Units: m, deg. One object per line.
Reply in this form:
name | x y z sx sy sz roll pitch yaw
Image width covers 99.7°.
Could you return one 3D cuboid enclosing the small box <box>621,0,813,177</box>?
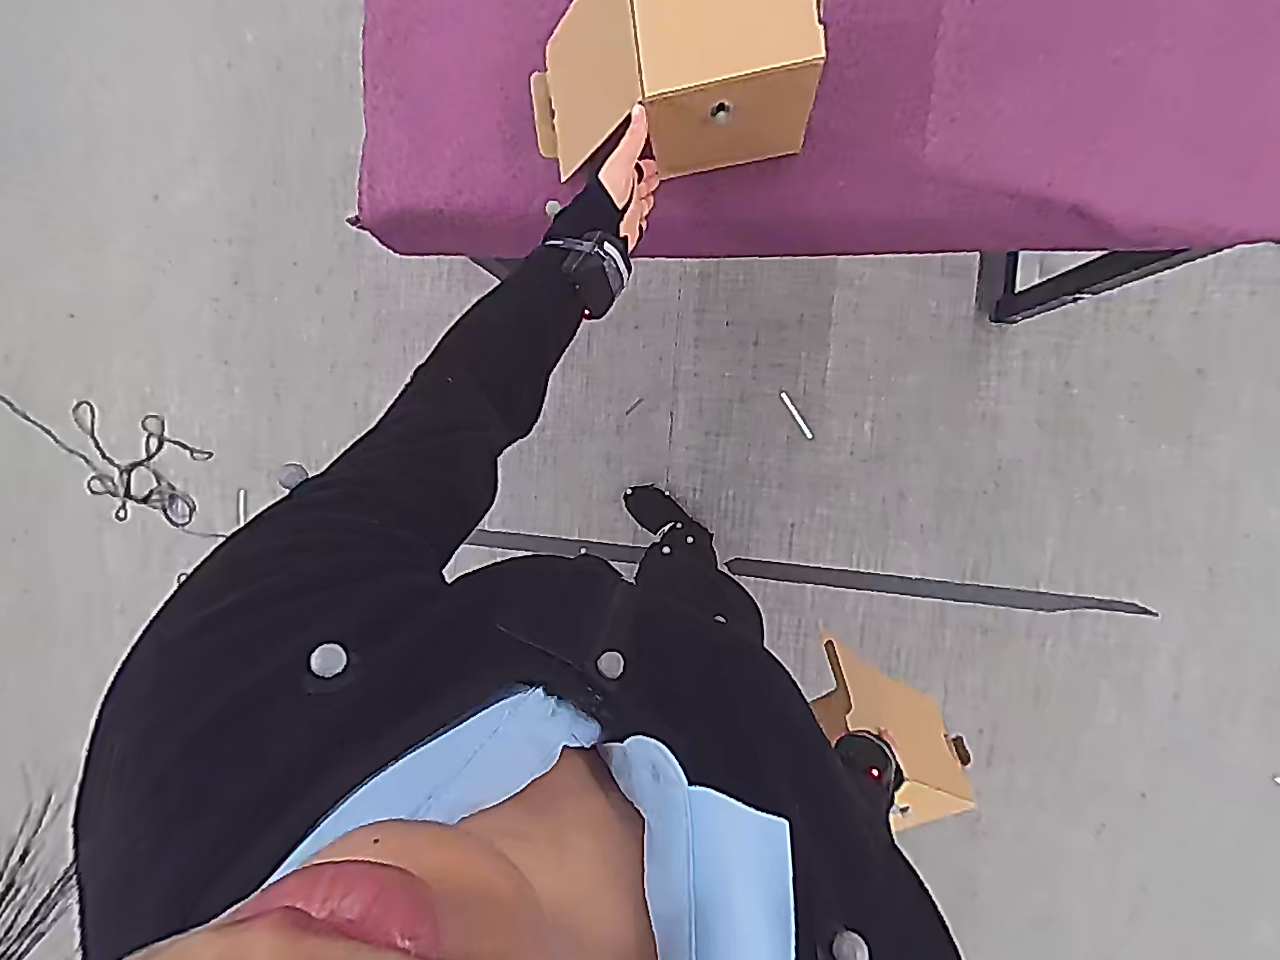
small box | 0.081 -0.462 0.592 0.179 0.176 0.168 -6 94 9
